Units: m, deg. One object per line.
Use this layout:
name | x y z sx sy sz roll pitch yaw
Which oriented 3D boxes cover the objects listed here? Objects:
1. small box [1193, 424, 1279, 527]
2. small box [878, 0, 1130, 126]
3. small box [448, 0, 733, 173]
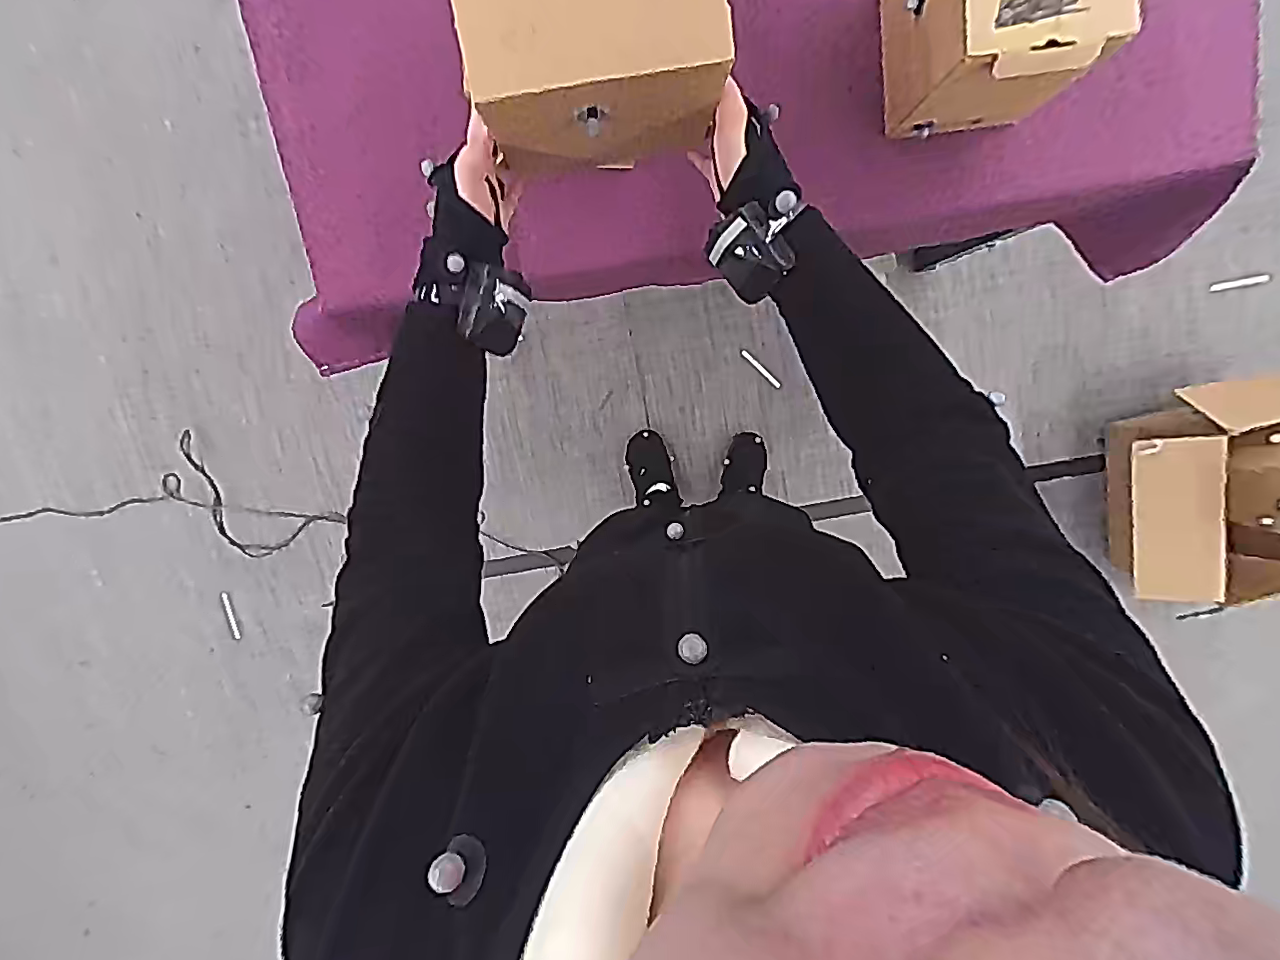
small box | 1.440 -0.016 1.239 0.168 0.176 0.179 -31 102 7
small box | 0.374 -0.511 0.582 0.168 0.176 0.179 -7 99 0
small box | -0.039 -0.351 0.404 0.179 0.176 0.168 -9 105 0
